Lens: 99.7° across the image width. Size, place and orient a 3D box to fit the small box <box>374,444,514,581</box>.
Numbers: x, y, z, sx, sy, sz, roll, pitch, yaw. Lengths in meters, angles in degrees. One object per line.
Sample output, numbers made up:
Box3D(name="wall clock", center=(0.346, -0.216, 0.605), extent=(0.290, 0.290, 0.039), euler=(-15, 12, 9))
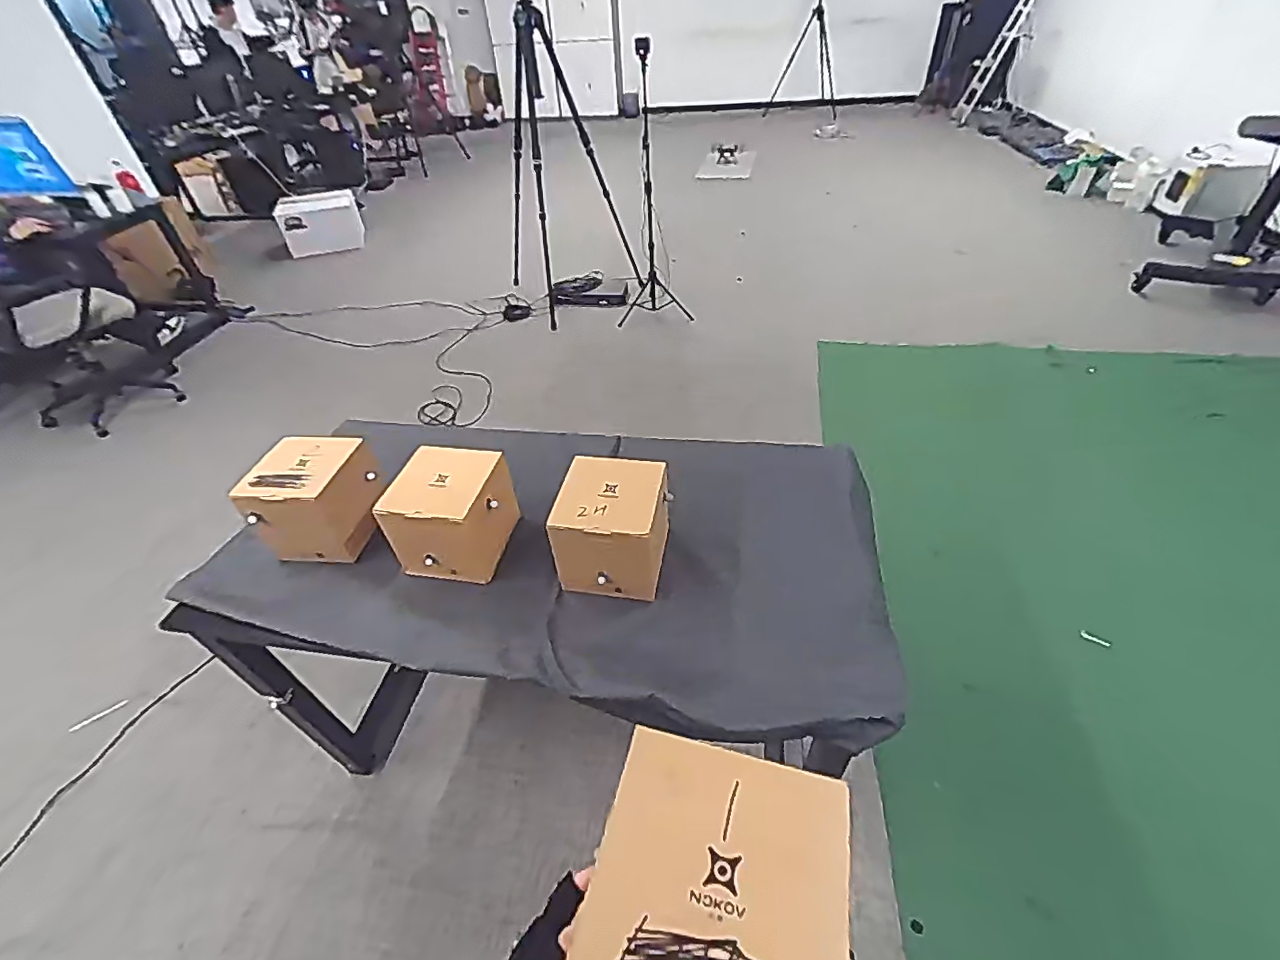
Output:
Box3D(name="small box", center=(-0.342, 0.058, 0.987), extent=(0.168, 0.176, 0.179), euler=(5, 44, 9))

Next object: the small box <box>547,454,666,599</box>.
Box3D(name="small box", center=(-0.048, 0.079, 0.941), extent=(0.168, 0.176, 0.179), euler=(5, 43, 10))

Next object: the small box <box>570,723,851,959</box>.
Box3D(name="small box", center=(0.057, 0.324, 0.412), extent=(0.168, 0.176, 0.179), euler=(10, 44, 13))
